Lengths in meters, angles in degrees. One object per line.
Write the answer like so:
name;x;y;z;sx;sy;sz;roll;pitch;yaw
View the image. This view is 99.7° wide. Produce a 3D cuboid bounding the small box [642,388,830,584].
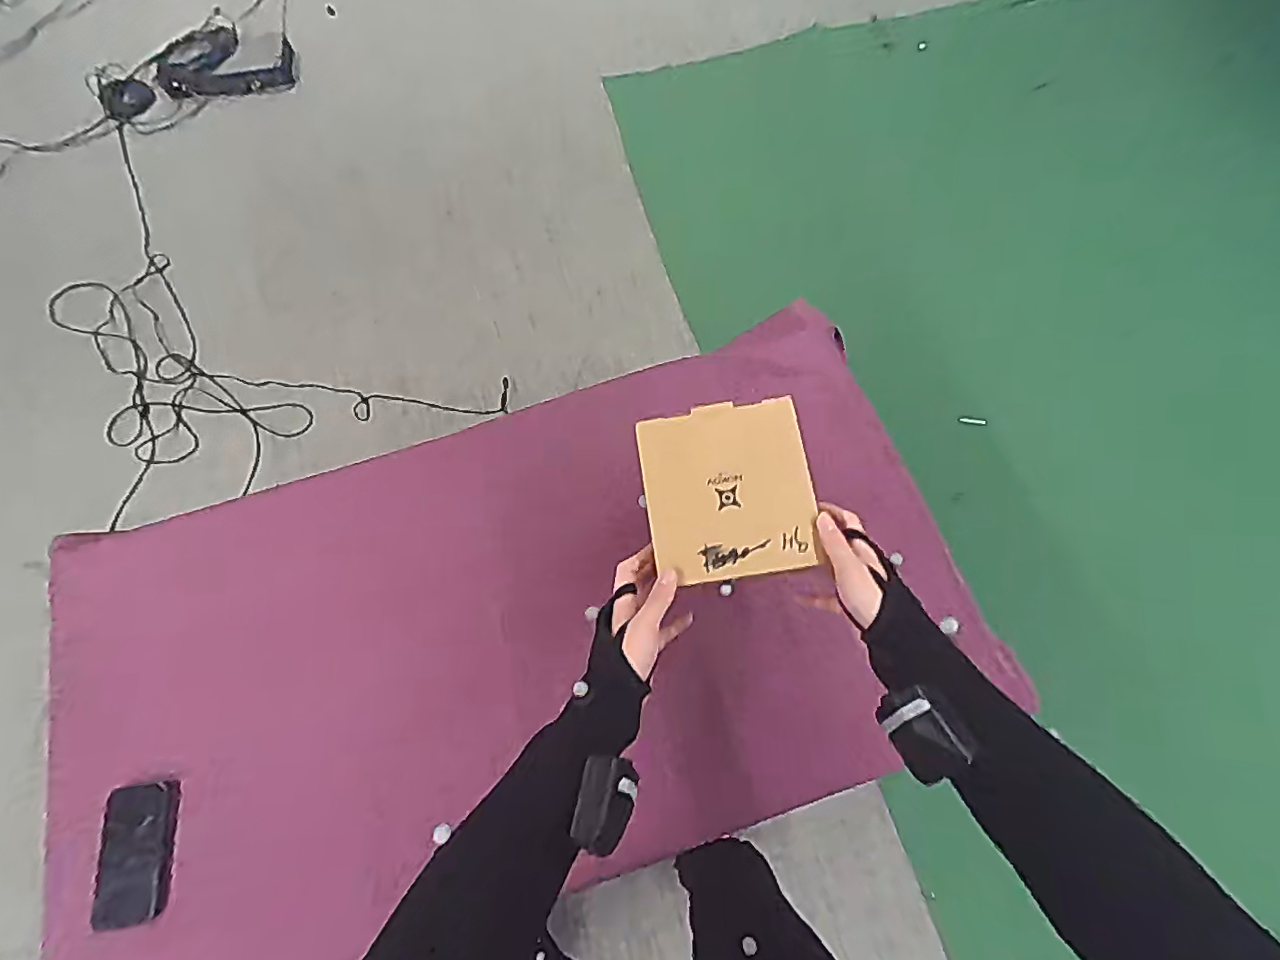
small box;0.099;0.018;0.617;0.168;0.176;0.179;-9;76;4
